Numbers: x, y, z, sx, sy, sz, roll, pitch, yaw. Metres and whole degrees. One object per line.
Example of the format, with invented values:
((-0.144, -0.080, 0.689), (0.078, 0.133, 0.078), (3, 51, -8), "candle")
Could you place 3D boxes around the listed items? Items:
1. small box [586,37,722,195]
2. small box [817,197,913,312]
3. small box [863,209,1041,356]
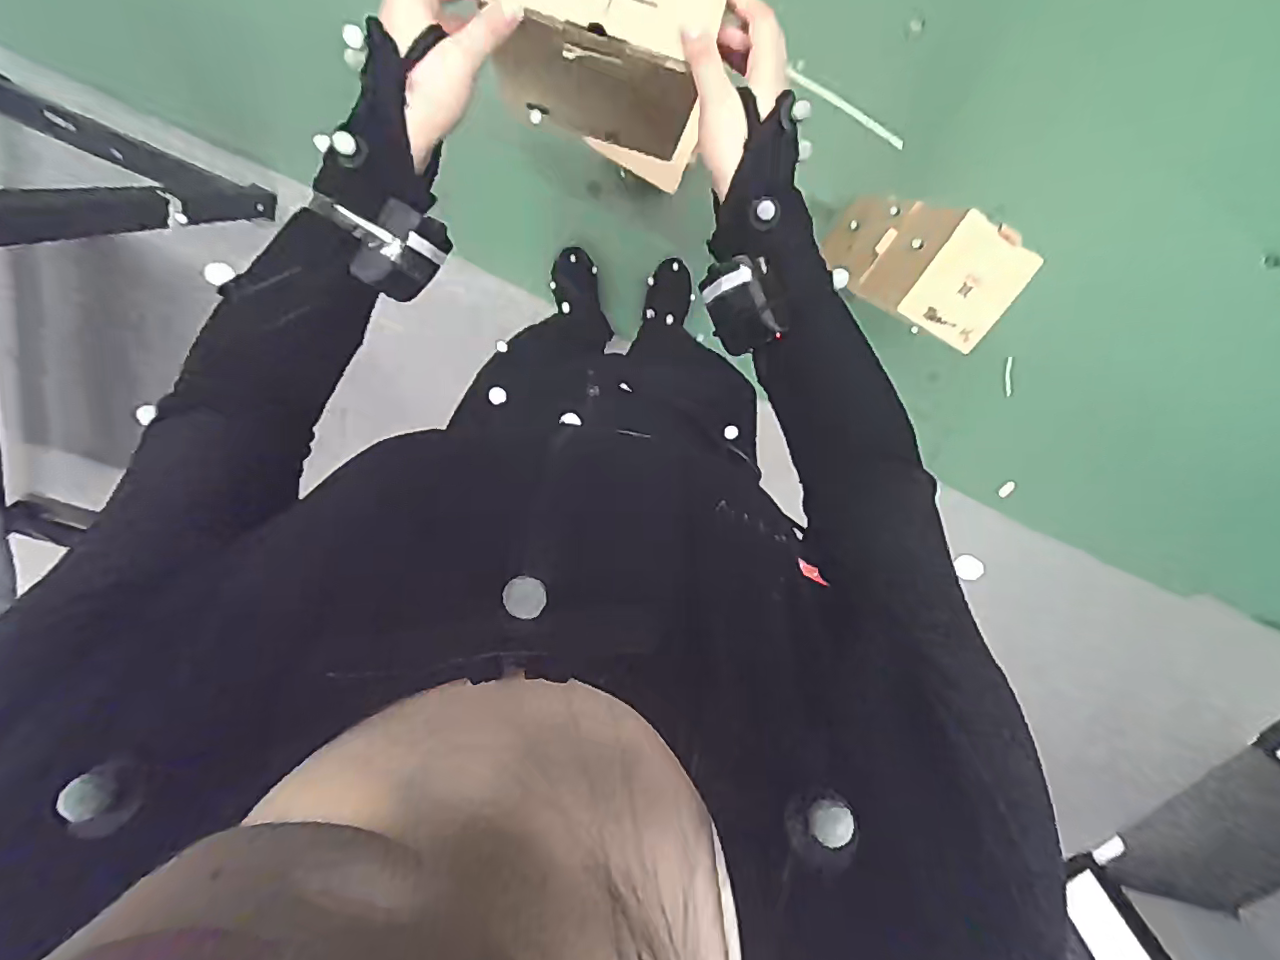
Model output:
((0.019, -0.631, 0.962), (0.179, 0.176, 0.168), (23, 117, -14), "small box")
((0.530, -0.516, 1.234), (0.168, 0.176, 0.179), (29, 114, -17), "small box")
((0.531, -0.351, 0.948), (0.168, 0.176, 0.179), (25, 115, -17), "small box")
